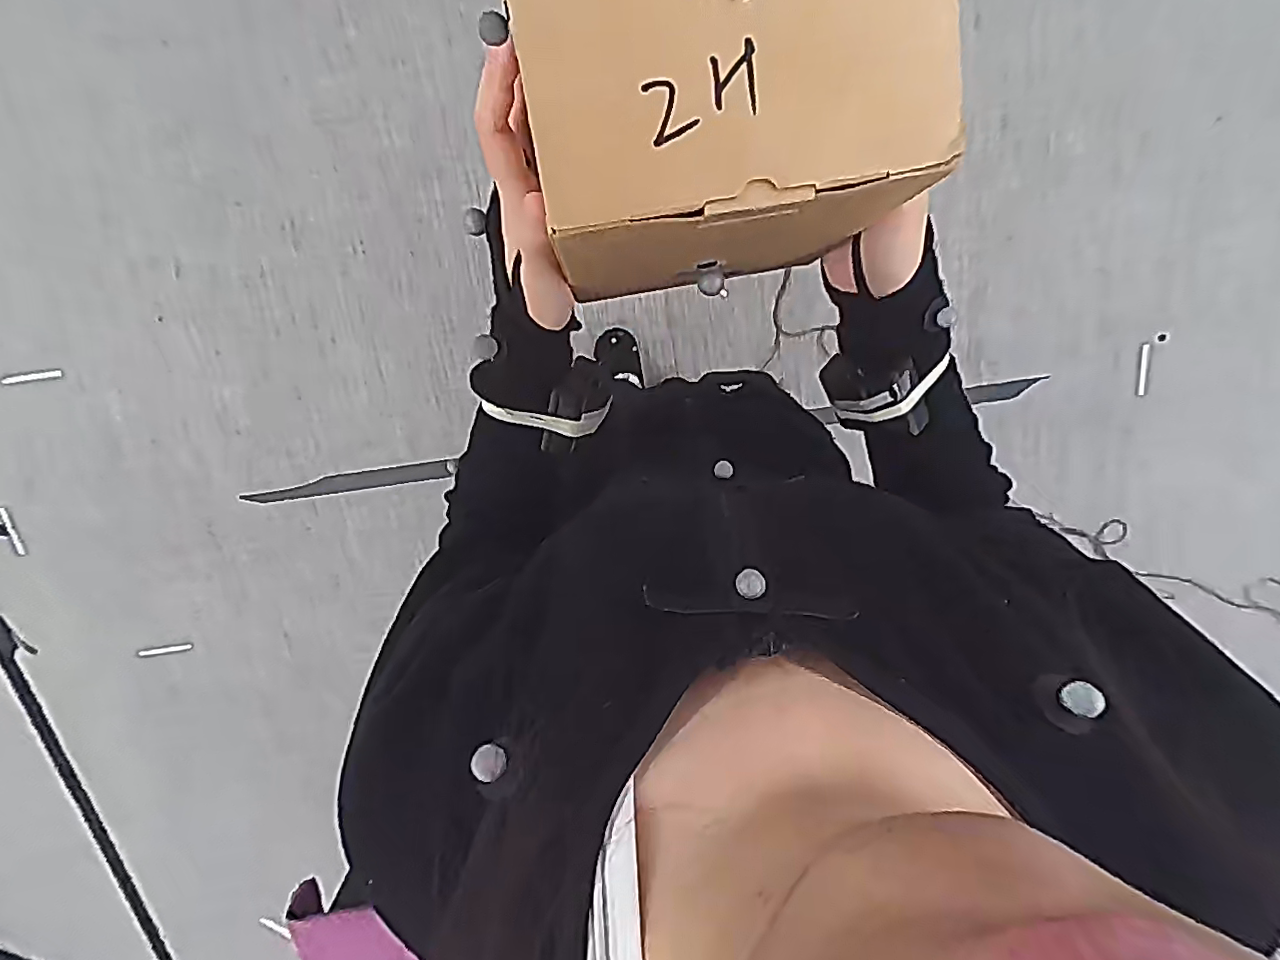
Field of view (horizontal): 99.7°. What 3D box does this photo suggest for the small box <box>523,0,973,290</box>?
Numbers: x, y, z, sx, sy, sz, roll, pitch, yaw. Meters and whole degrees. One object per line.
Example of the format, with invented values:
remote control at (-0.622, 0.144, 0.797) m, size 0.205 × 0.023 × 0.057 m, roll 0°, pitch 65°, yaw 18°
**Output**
small box at (0.030, -0.211, 0.271) m, size 0.168 × 0.176 × 0.179 m, roll -10°, pitch 100°, yaw -2°
